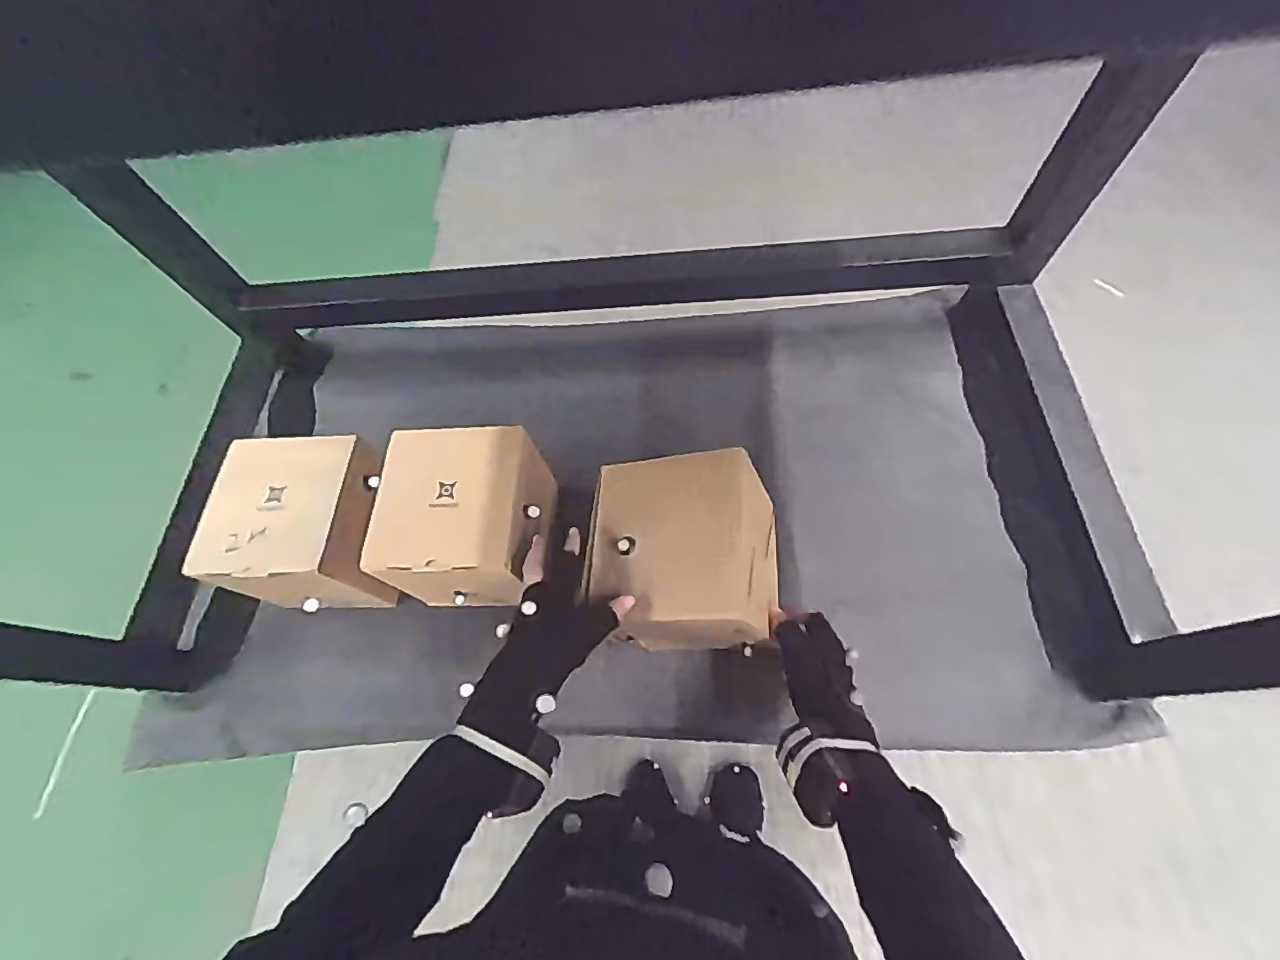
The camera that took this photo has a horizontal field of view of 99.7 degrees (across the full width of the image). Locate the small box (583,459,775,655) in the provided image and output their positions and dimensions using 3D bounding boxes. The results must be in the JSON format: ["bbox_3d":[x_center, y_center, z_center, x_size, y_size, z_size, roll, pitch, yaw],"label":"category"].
[{"bbox_3d":[0.054,0.094,0.609,0.176,0.168,0.179,-7,61,21],"label":"small box"}]
